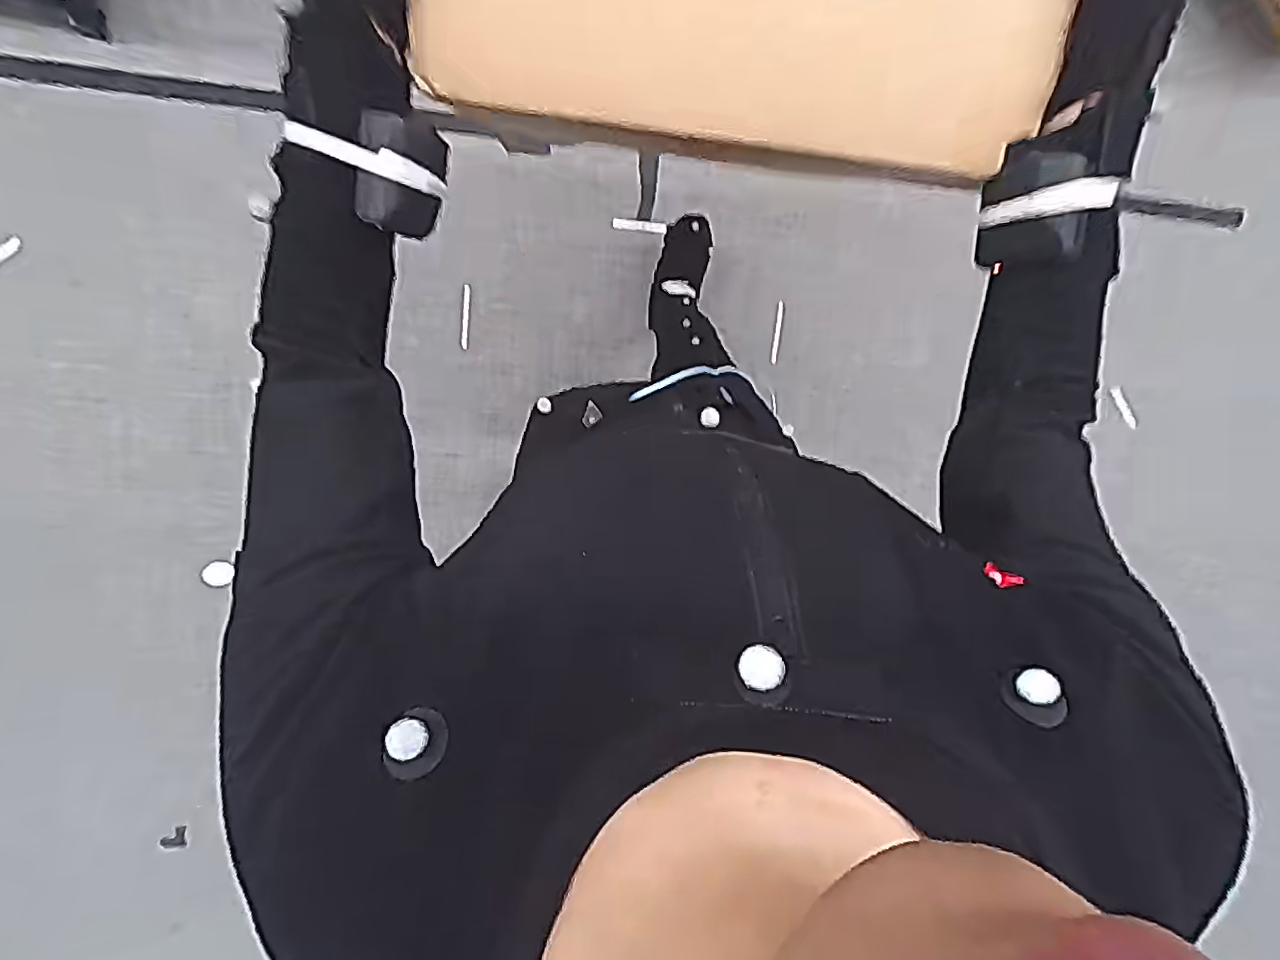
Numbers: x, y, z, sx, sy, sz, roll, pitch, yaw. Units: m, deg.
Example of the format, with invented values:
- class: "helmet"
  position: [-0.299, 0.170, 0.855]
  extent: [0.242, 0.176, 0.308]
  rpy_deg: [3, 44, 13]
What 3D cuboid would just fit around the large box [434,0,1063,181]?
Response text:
- class: "large box"
  position: [0.068, -0.437, 0.430]
  extent: [0.408, 0.320, 0.320]
  rpy_deg: [4, 119, -8]
